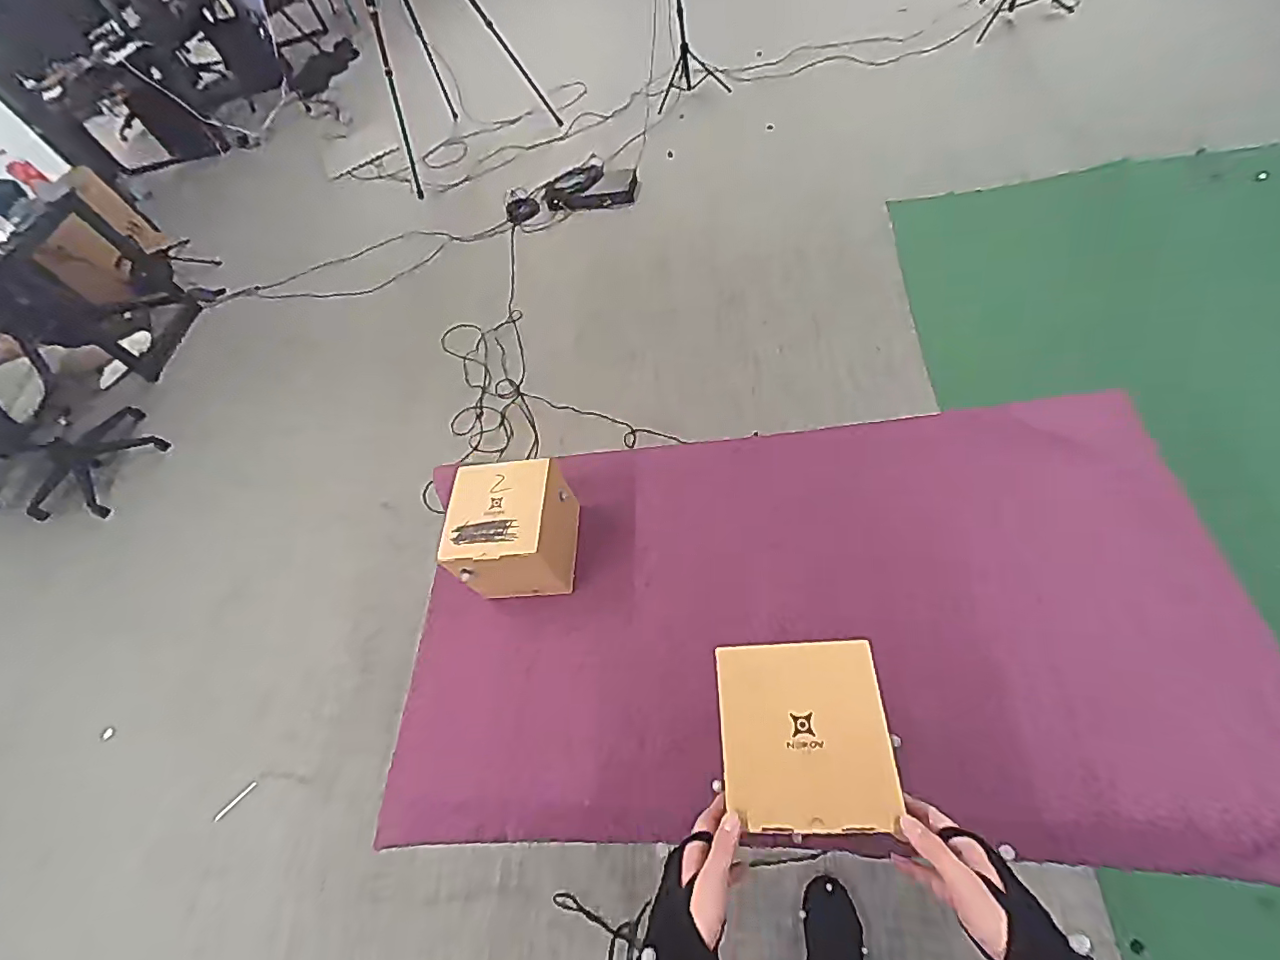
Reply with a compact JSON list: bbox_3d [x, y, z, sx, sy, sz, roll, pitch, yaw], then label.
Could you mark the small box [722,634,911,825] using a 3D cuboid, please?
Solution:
[{"bbox_3d":[0.181,0.287,0.616,0.168,0.176,0.179,-5,59,8],"label":"small box"}]
